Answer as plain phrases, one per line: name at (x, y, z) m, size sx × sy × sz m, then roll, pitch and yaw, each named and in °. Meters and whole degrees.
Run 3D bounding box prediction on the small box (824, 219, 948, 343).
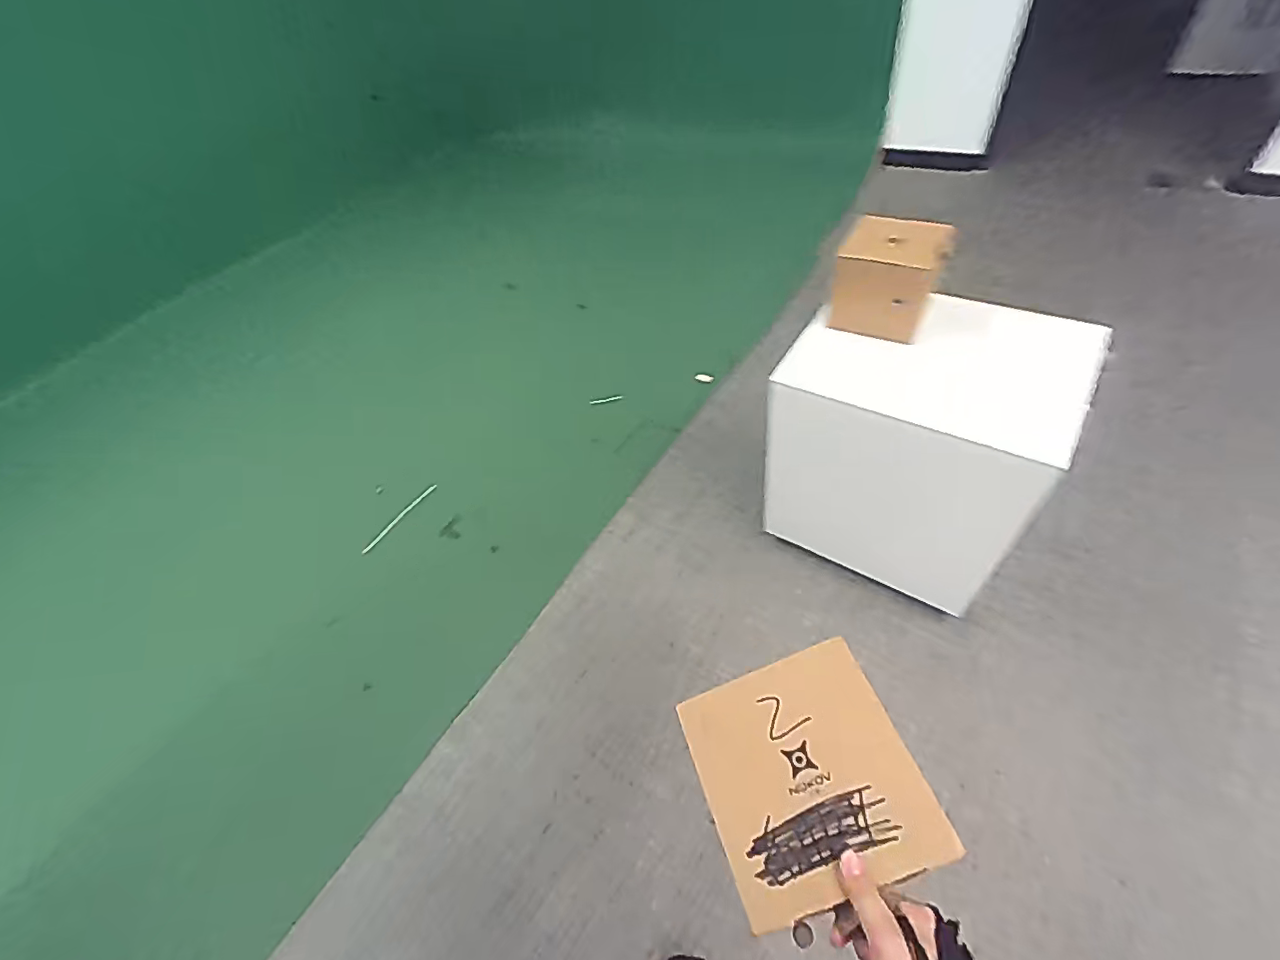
small box at (0.491, -0.401, 1.096) m, size 0.179 × 0.176 × 0.168 m, roll 19°, pitch 57°, yaw 25°
